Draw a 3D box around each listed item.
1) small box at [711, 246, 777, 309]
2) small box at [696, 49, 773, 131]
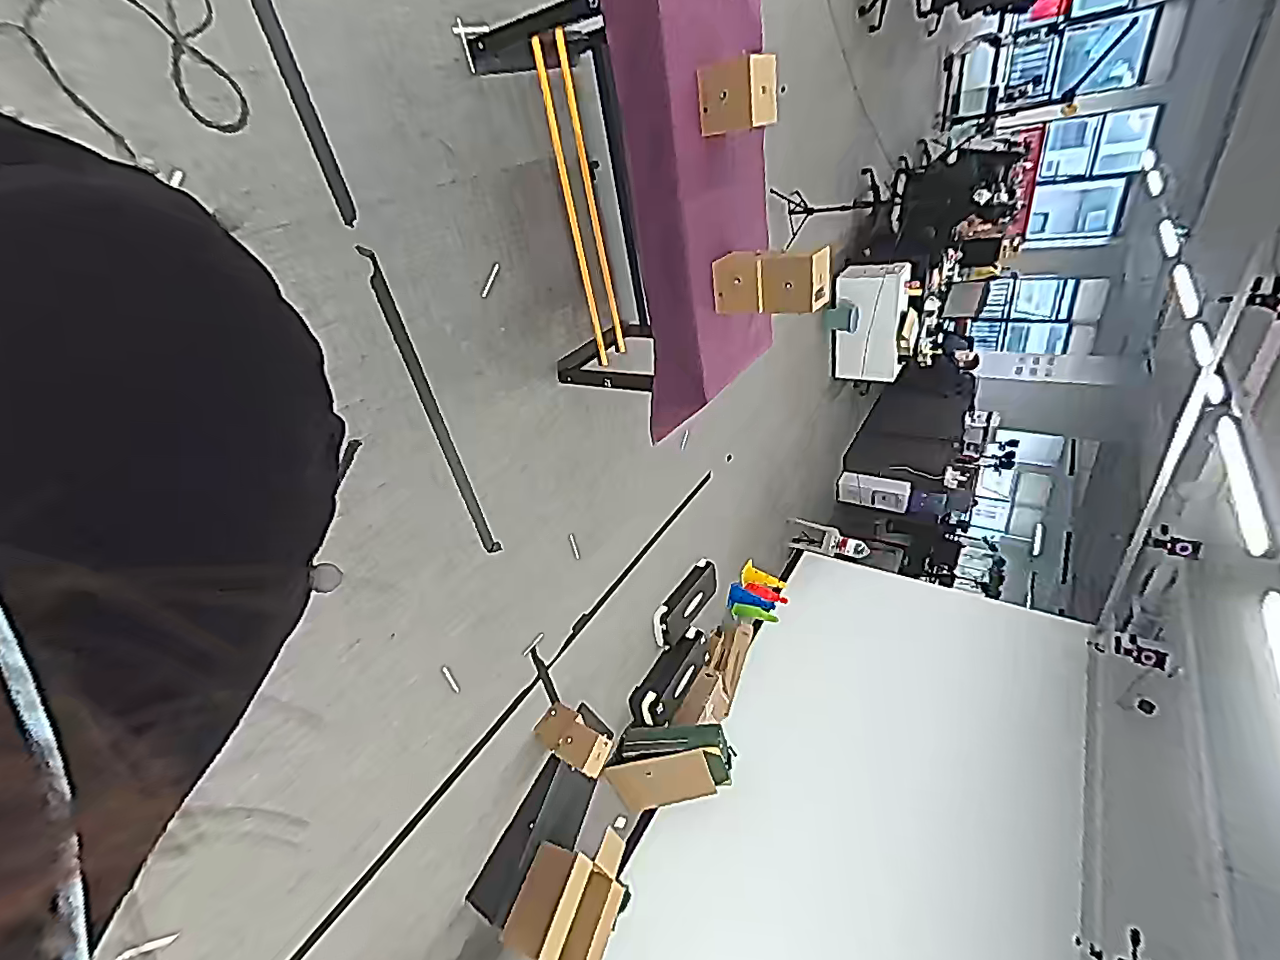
[{"bbox_3d":[0.350,-0.686,1.836,0.179,0.176,0.168,-43,133,-42],"label":"small box"},{"bbox_3d":[0.272,-1.127,1.570,0.179,0.176,0.168,-42,134,-42],"label":"small box"}]
